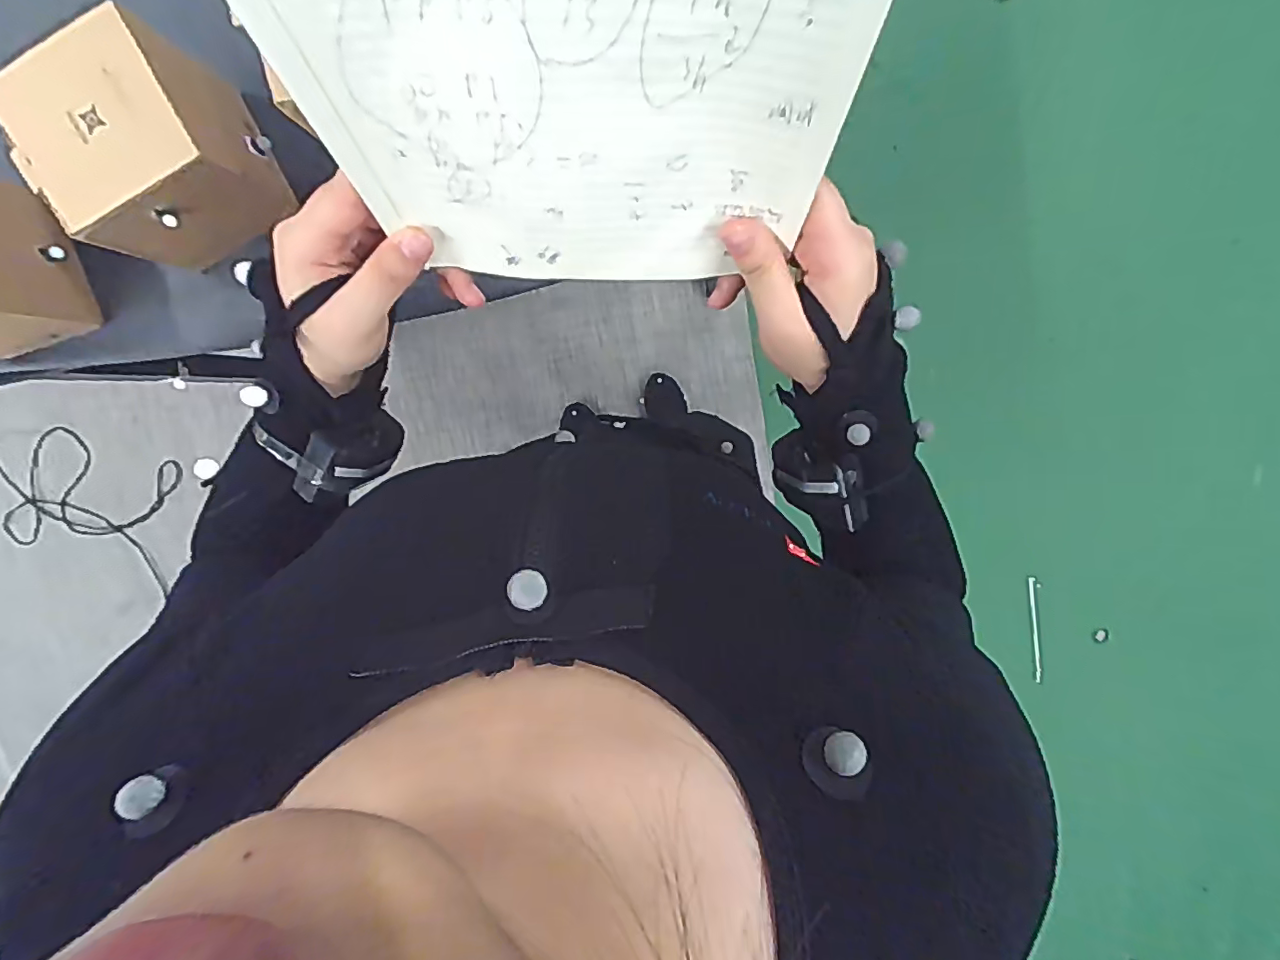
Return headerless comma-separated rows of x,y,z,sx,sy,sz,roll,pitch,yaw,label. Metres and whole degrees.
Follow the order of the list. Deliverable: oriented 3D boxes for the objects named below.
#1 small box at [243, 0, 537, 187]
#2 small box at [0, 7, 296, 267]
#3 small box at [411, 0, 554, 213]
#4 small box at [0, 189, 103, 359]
-0.196,-0.377,0.455,0.179,0.176,0.168,-12,98,5,small box
-0.563,-0.377,0.637,0.179,0.176,0.168,-27,97,5,small box
-0.196,-0.426,0.611,0.168,0.176,0.179,5,99,2,small box
-0.842,-0.259,0.665,0.168,0.176,0.179,-16,98,5,small box
